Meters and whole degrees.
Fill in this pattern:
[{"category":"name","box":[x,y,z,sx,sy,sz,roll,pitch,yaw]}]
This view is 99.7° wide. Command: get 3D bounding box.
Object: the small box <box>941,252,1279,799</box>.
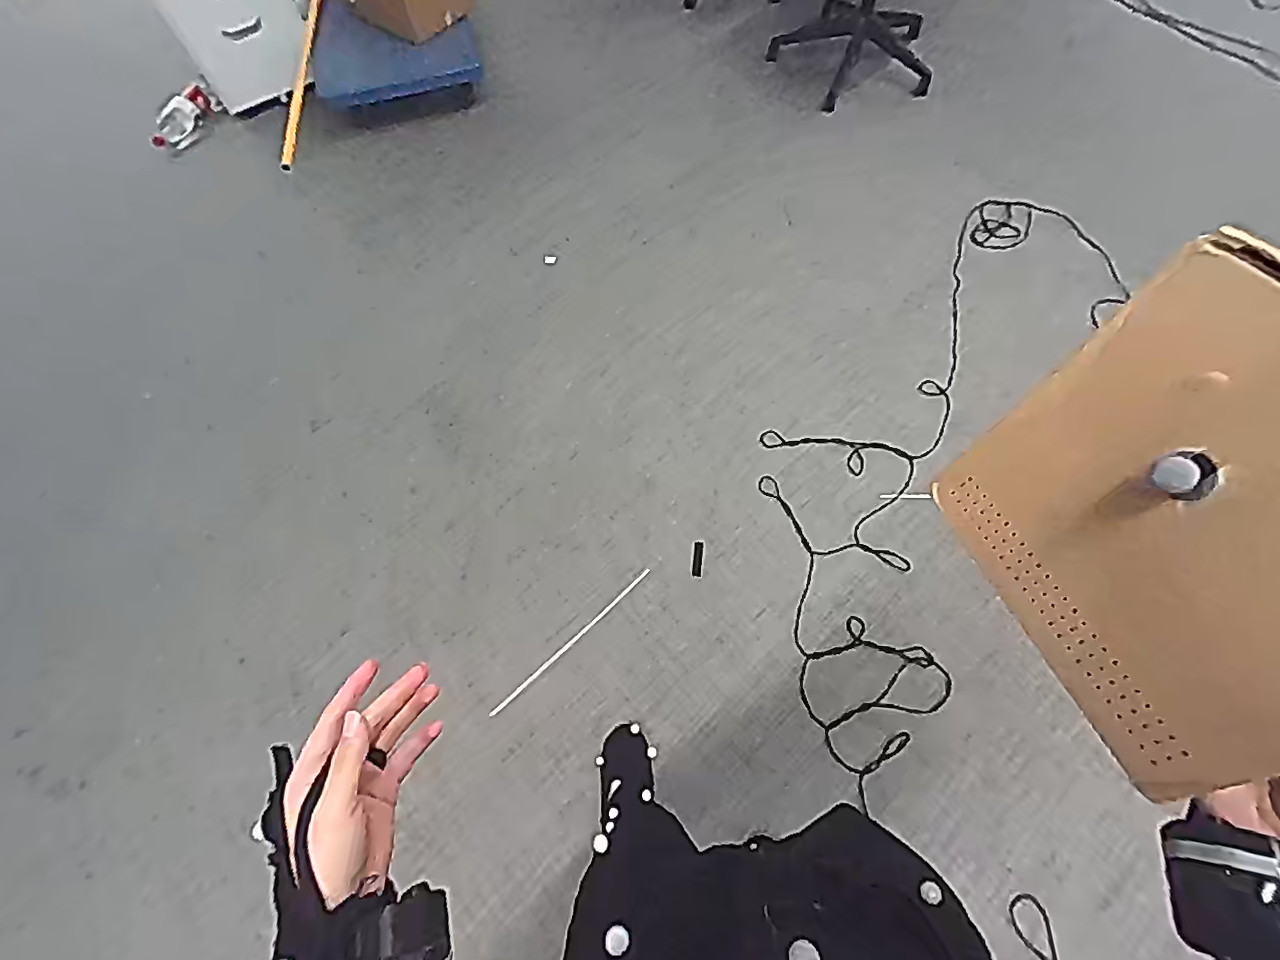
[{"category":"small box","box":[0.296,0.023,0.262,0.168,0.176,0.179,-1,50,-23]}]
